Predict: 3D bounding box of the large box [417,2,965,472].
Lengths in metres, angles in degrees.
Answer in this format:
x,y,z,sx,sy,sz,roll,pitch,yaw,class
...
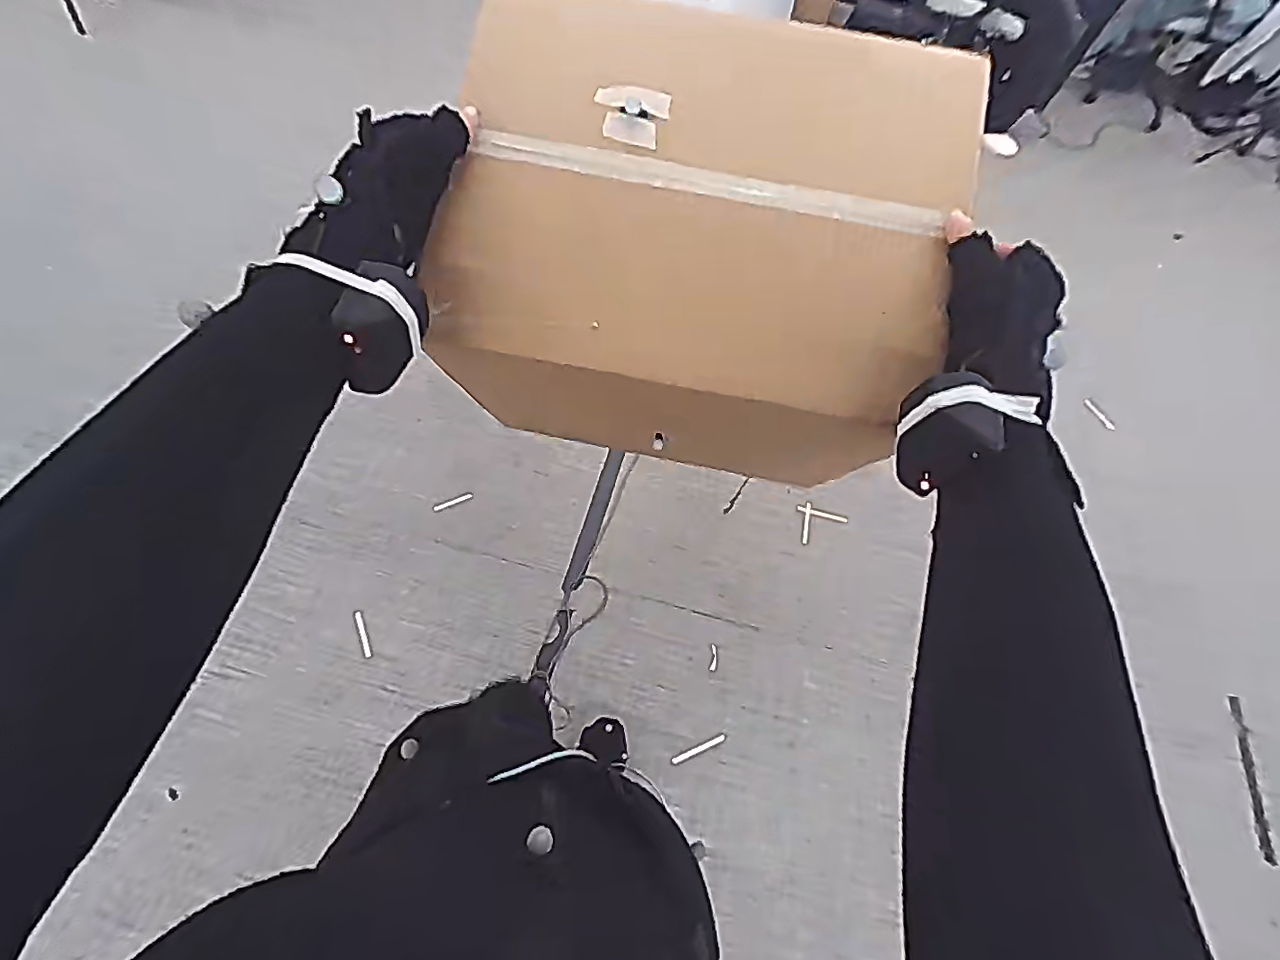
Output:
x,y,z,sx,sy,sz,roll,pitch,yaw,class
0.051,-0.206,0.580,0.408,0.320,0.320,11,82,3,large box
